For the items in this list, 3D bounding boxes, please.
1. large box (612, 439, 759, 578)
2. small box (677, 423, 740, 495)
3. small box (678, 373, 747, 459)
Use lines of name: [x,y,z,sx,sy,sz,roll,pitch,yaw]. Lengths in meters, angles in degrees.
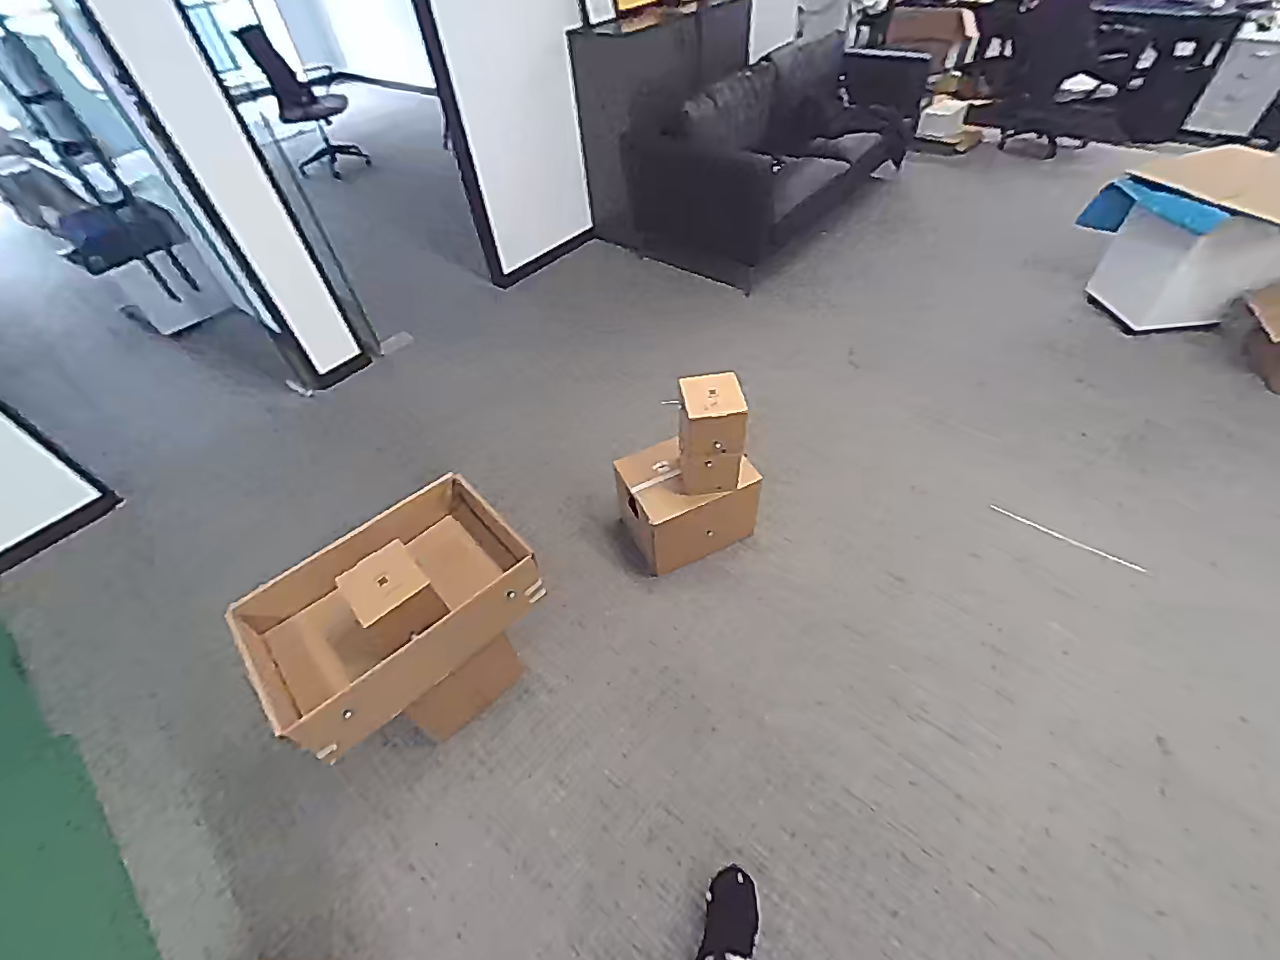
large box: [0.156,0.075,1.900,0.408,0.320,0.320,-23,50,-14]
small box: [0.210,-0.076,1.701,0.168,0.176,0.179,-7,49,-2]
small box: [0.204,-0.187,1.578,0.168,0.176,0.179,-8,50,-2]
